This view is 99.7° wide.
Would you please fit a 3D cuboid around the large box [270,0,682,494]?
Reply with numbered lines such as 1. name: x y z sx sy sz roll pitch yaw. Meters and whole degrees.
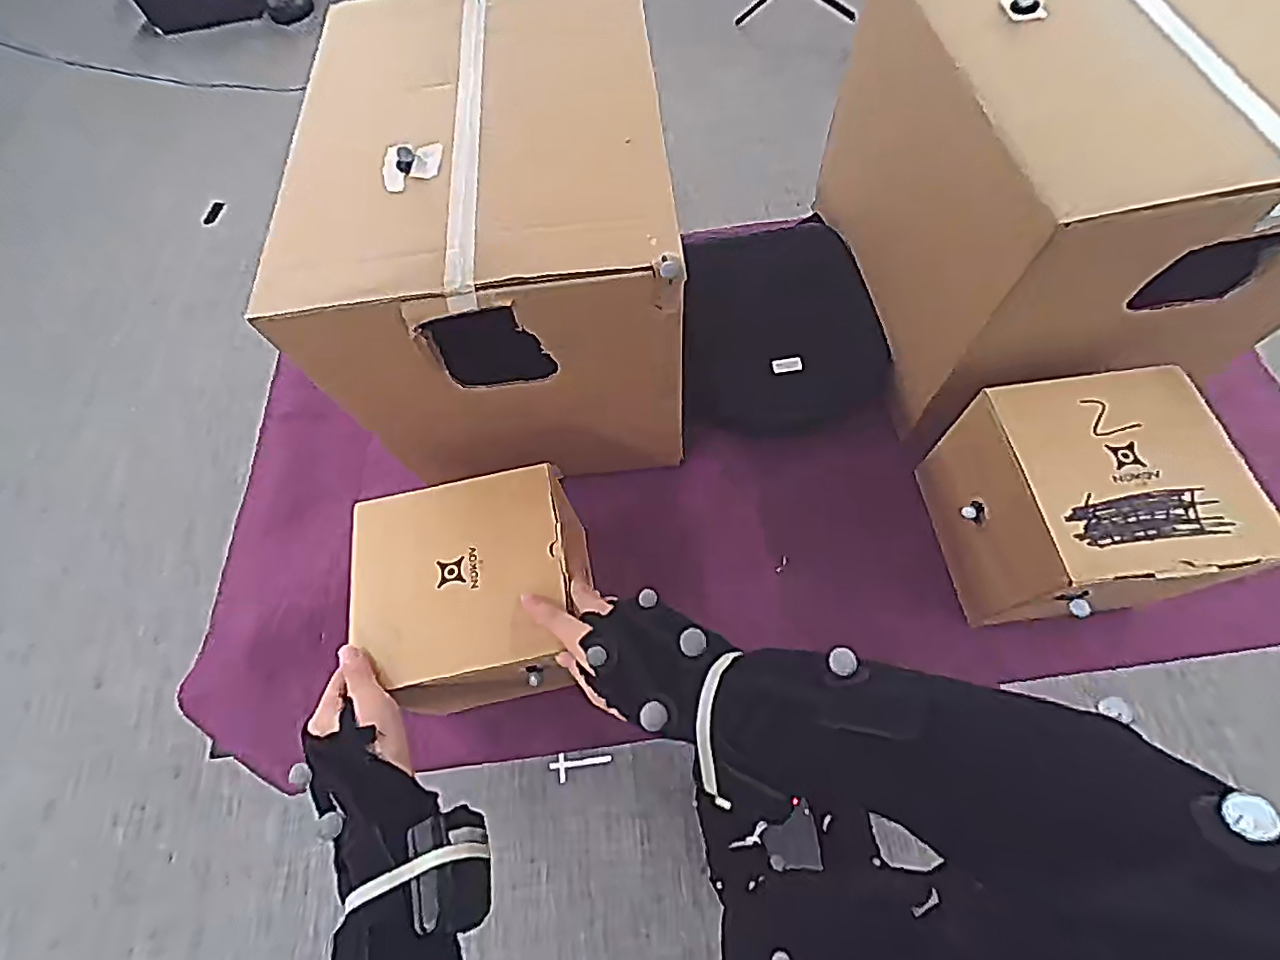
1. large box: -0.133 -0.235 0.604 0.320 0.320 0.408 -7 67 3
